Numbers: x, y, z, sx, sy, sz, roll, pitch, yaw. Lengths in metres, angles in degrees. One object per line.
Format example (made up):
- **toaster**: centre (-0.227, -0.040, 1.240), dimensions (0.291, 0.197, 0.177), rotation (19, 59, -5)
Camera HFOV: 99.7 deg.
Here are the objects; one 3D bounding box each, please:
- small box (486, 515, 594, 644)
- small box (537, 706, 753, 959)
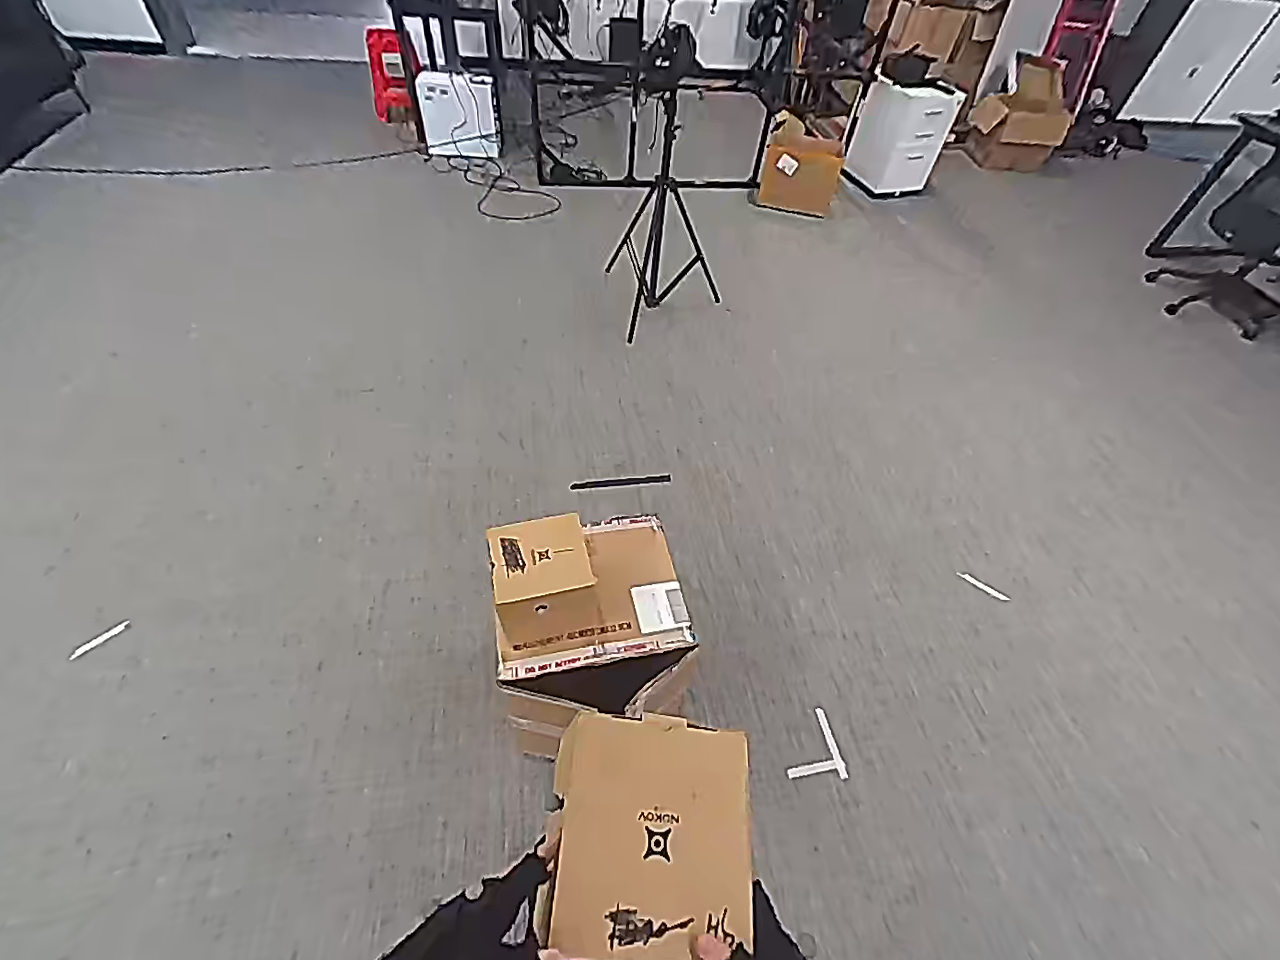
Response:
- **small box**: centre (-0.188, 0.194, 1.036), dimensions (0.179, 0.176, 0.168), rotation (-10, 50, -12)
- **small box**: centre (-0.001, 0.338, 0.525), dimensions (0.168, 0.176, 0.179), rotation (11, 56, -8)
